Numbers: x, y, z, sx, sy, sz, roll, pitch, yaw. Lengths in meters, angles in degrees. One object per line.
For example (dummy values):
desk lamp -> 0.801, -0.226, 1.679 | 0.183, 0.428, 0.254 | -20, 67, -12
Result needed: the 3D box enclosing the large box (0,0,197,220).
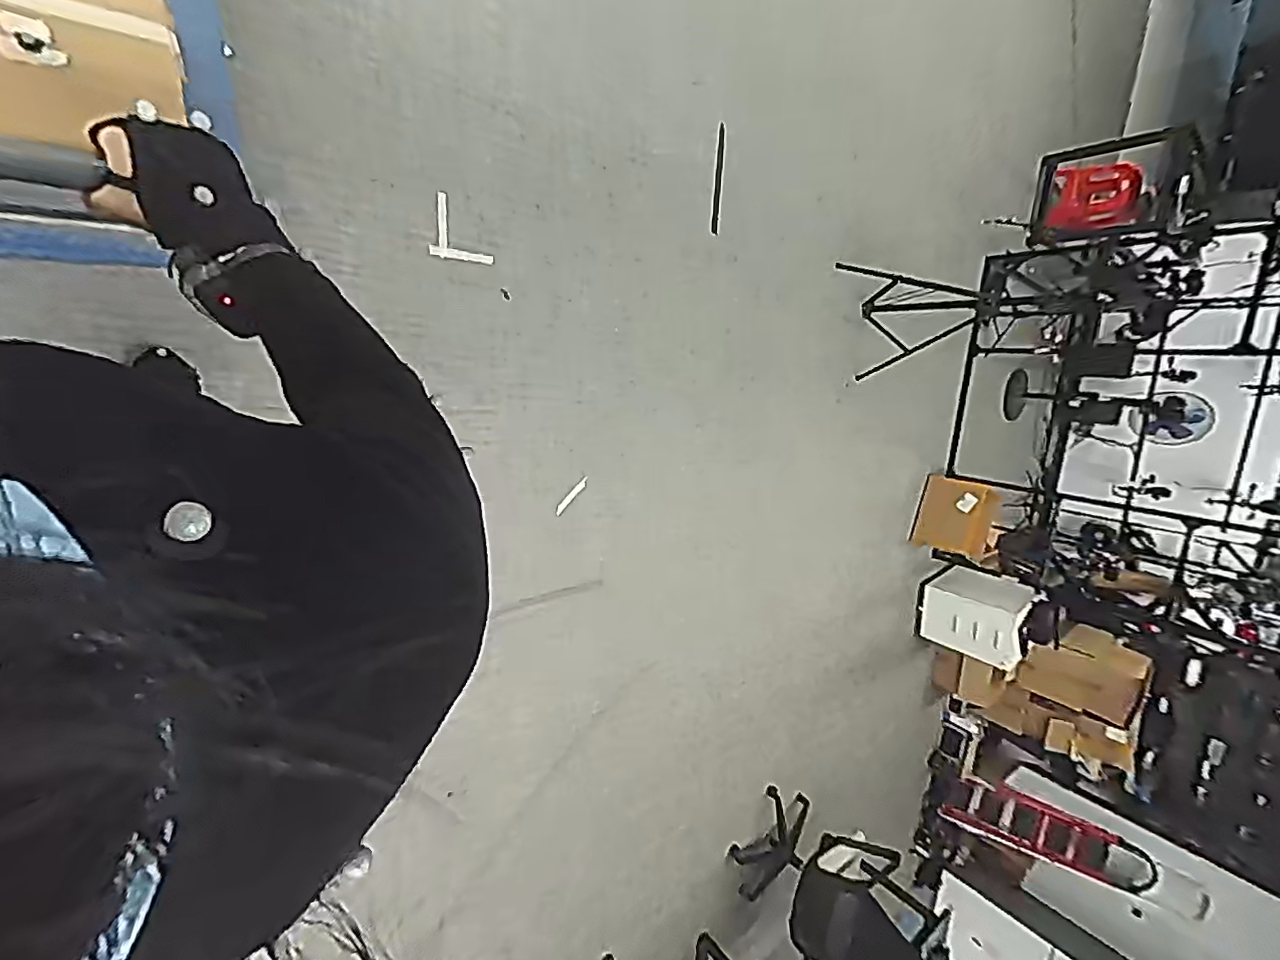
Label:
large box -> -0.860, -0.552, 0.695 | 0.408, 0.320, 0.320 | -11, 108, -39
